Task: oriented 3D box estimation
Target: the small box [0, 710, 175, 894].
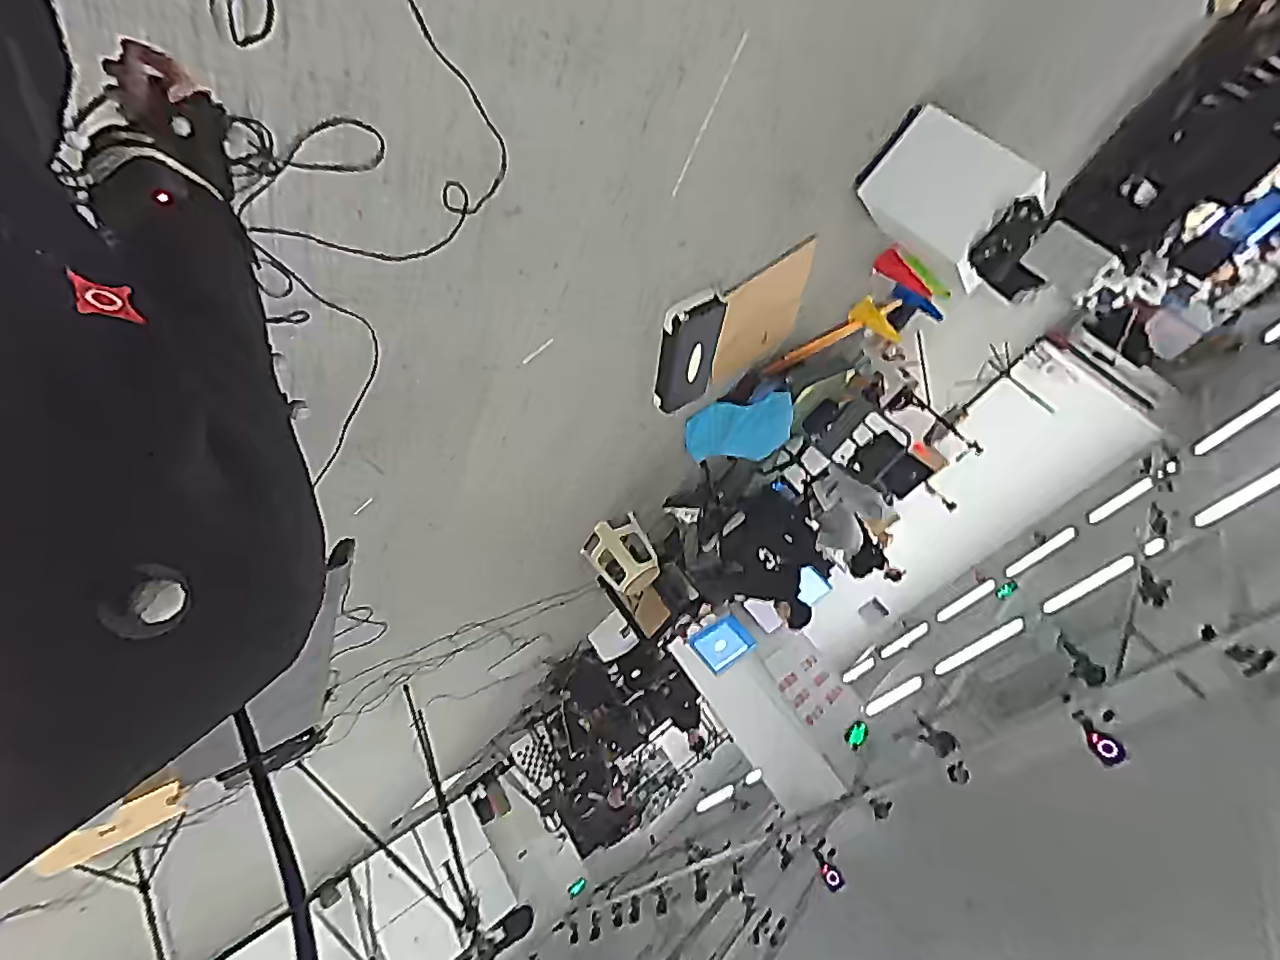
[{"bbox_3d":[-0.884,0.504,0.866,0.179,0.176,0.168,-15,147,-44],"label":"small box"}]
